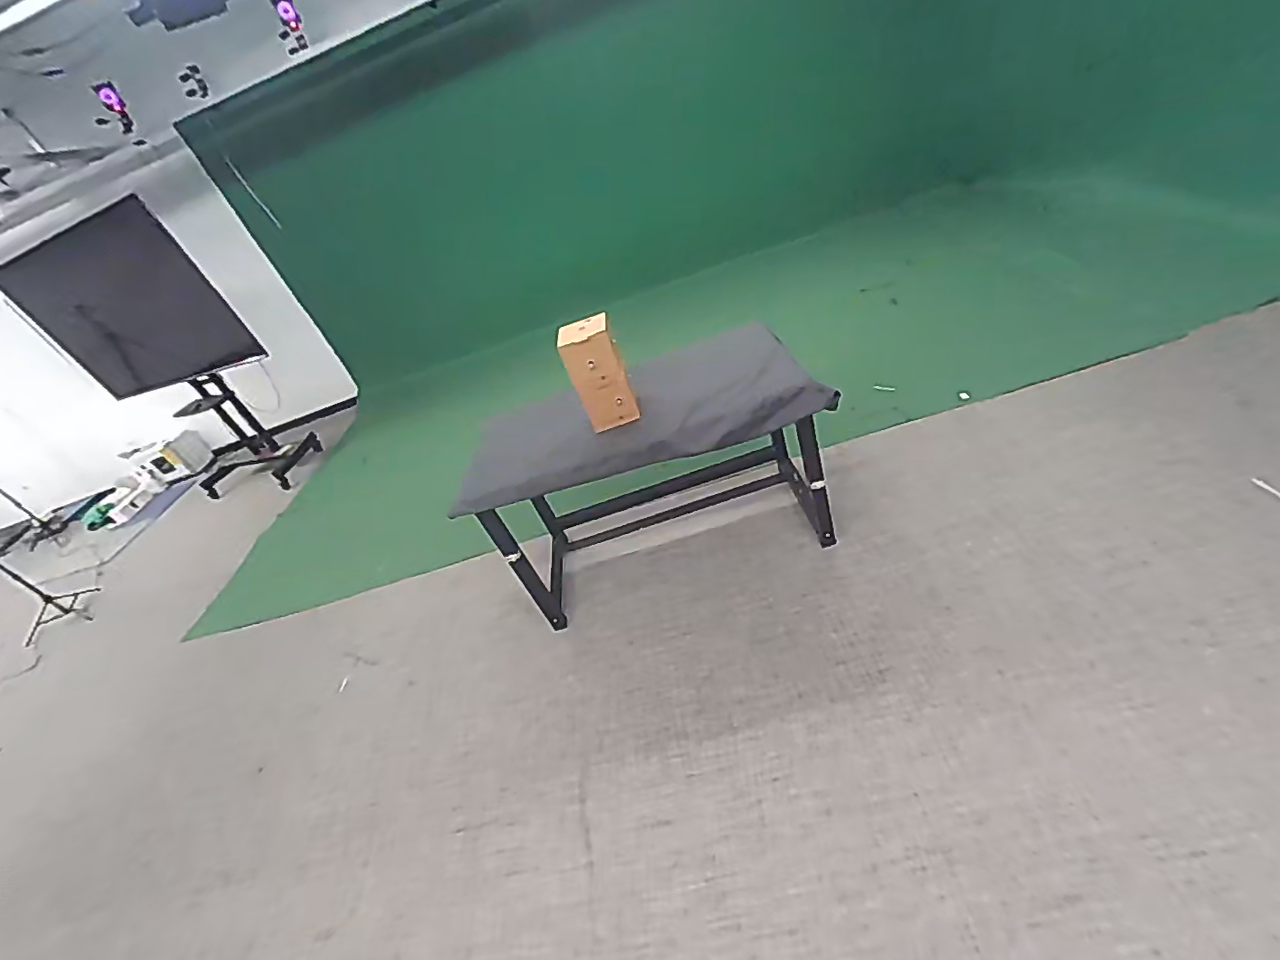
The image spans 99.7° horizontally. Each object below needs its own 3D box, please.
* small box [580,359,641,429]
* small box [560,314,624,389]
[{"bbox_3d":[-0.102,-0.293,1.889,0.168,0.176,0.179,-17,33,5],"label":"small box"},{"bbox_3d":[-0.155,-0.421,1.802,0.168,0.176,0.179,-16,36,6],"label":"small box"}]
